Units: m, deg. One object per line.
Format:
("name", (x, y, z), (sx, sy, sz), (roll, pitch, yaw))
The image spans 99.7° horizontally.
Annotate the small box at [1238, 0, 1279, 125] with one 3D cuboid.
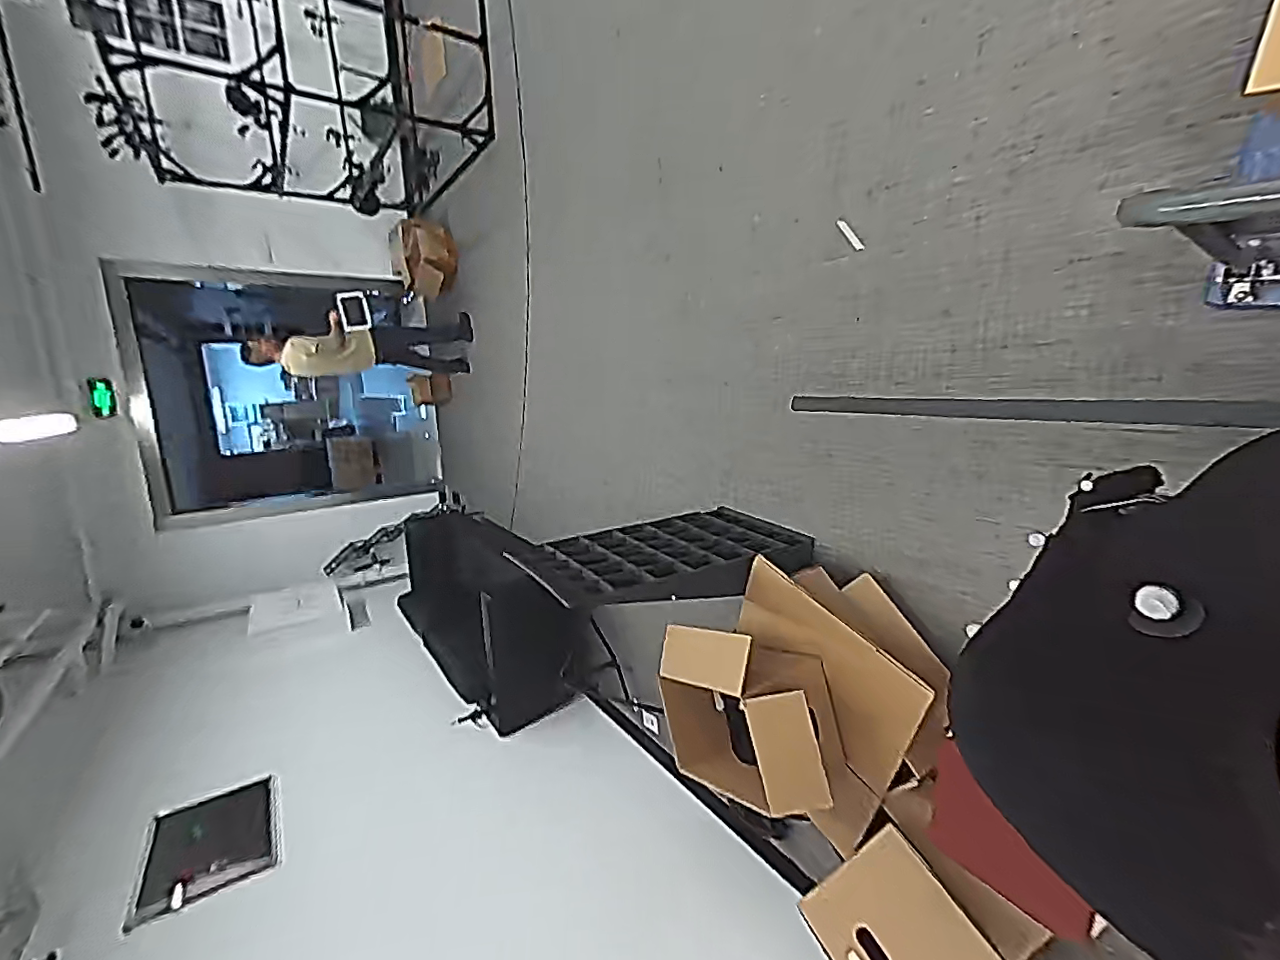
("small box", (0.972, -0.604, 0.726), (0.179, 0.176, 0.168), (24, 118, 51))
